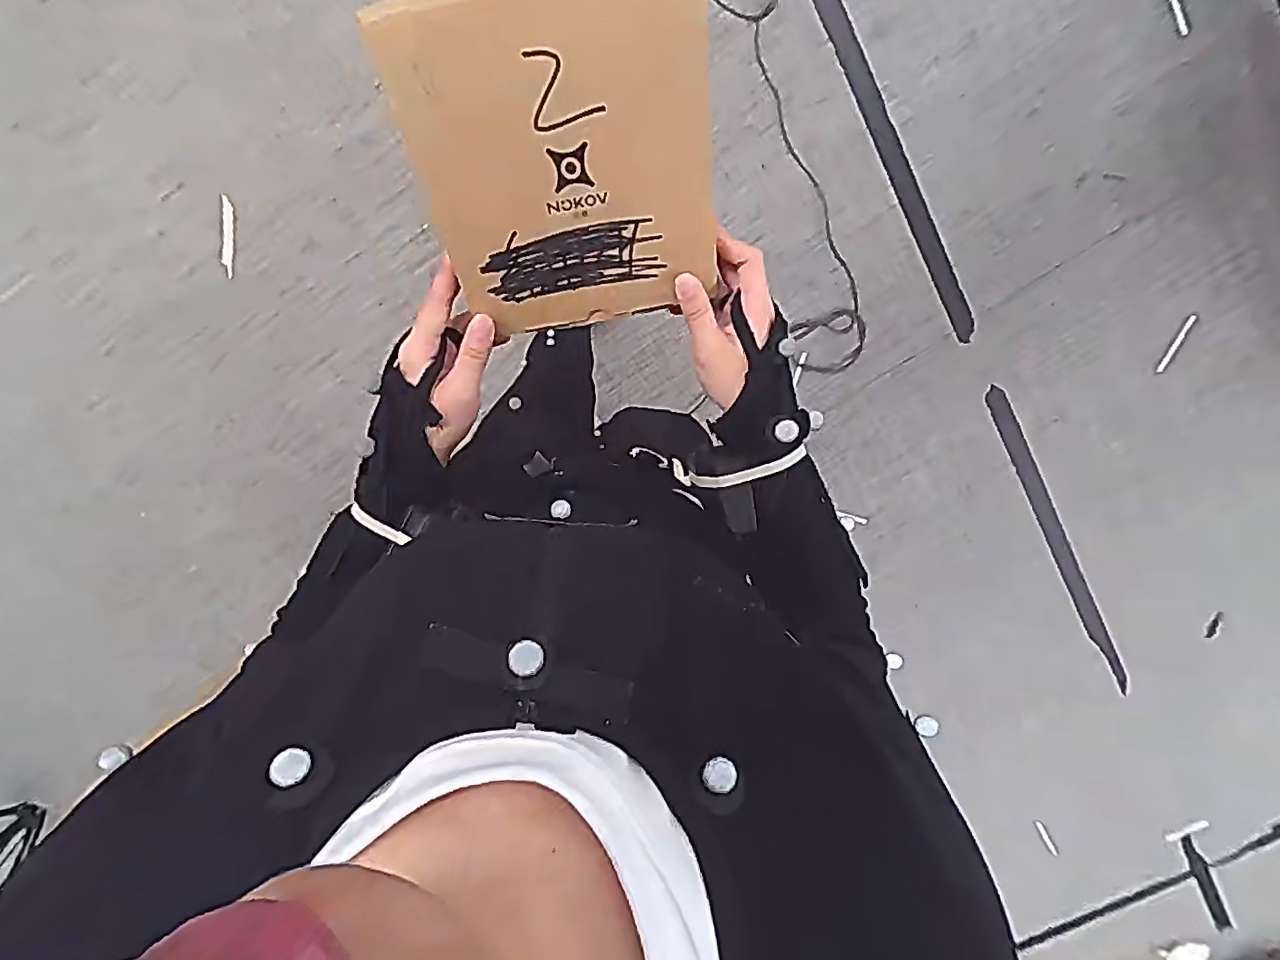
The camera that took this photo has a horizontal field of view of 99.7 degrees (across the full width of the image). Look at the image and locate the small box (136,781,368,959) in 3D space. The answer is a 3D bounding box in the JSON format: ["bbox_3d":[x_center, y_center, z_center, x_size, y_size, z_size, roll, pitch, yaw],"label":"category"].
[{"bbox_3d":[-0.547,0.580,0.791,0.168,0.176,0.179,-34,106,8],"label":"small box"}]
